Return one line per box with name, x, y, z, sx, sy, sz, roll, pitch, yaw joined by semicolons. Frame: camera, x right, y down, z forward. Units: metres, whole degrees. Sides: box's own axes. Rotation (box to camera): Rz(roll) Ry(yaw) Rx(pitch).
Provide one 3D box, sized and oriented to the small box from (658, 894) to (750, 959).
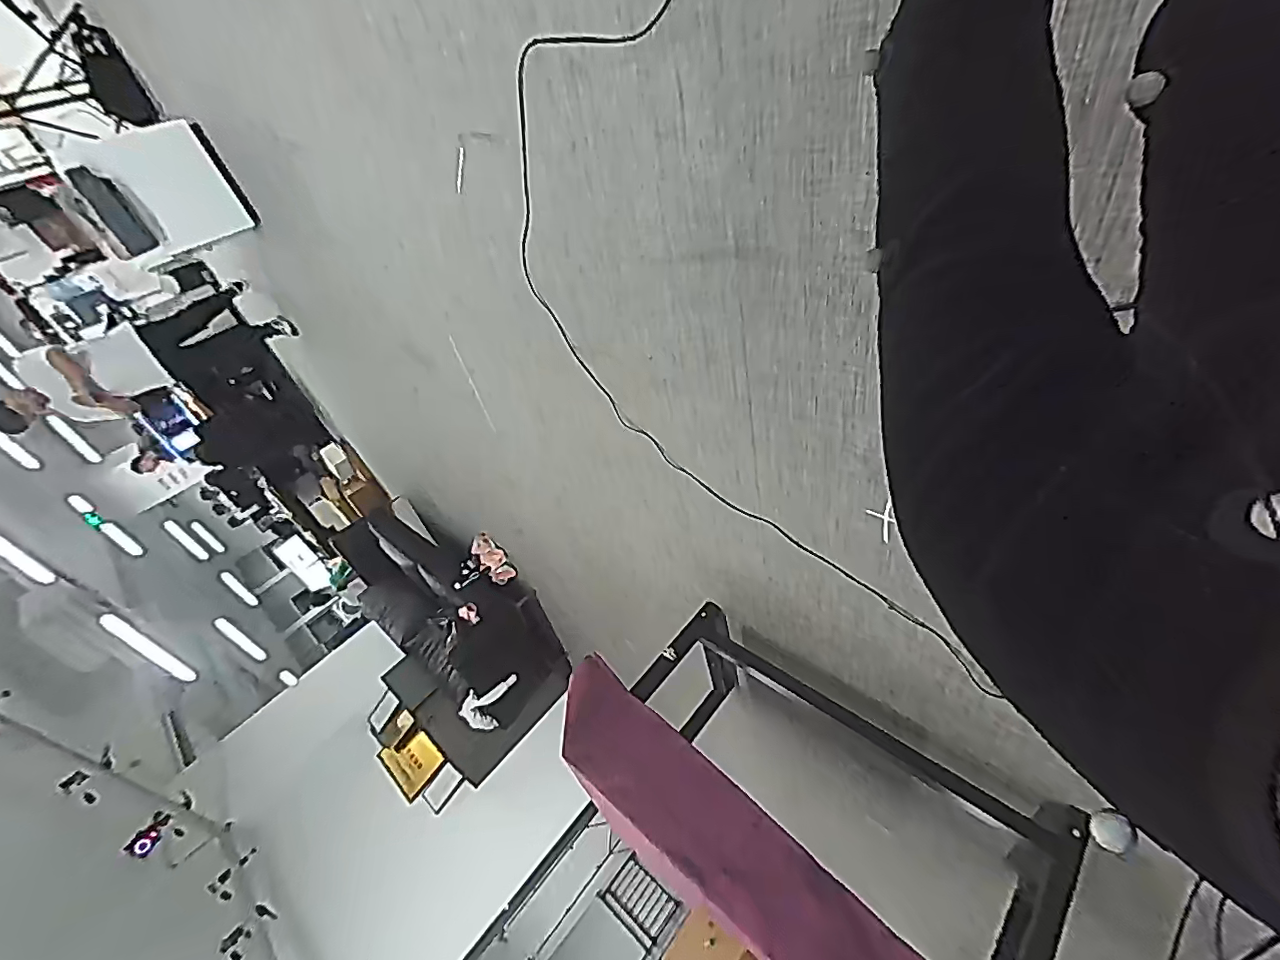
small box;0.182;1.296;1.482;0.168;0.176;0.179;17;138;43
